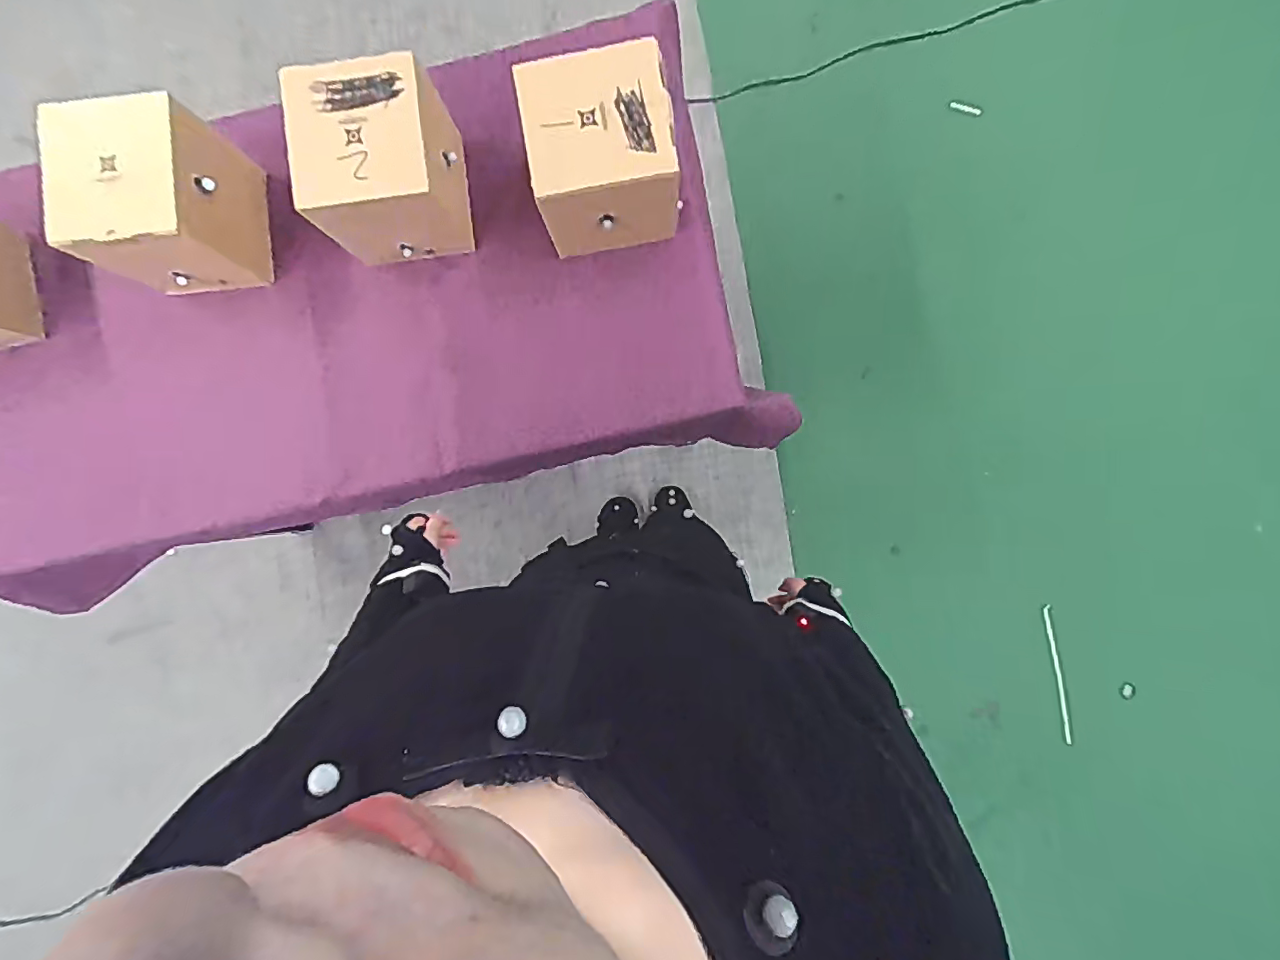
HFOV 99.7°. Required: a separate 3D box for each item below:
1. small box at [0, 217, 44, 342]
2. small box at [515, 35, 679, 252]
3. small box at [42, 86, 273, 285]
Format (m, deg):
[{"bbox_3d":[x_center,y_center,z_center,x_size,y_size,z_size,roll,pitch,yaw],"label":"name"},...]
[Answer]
[{"bbox_3d":[-0.993,-0.294,0.740,0.168,0.176,0.179,-12,89,2],"label":"small box"},{"bbox_3d":[-0.048,-0.426,0.714,0.179,0.176,0.168,-9,89,3],"label":"small box"},{"bbox_3d":[-0.637,-0.385,0.734,0.168,0.176,0.179,-4,90,2],"label":"small box"}]
